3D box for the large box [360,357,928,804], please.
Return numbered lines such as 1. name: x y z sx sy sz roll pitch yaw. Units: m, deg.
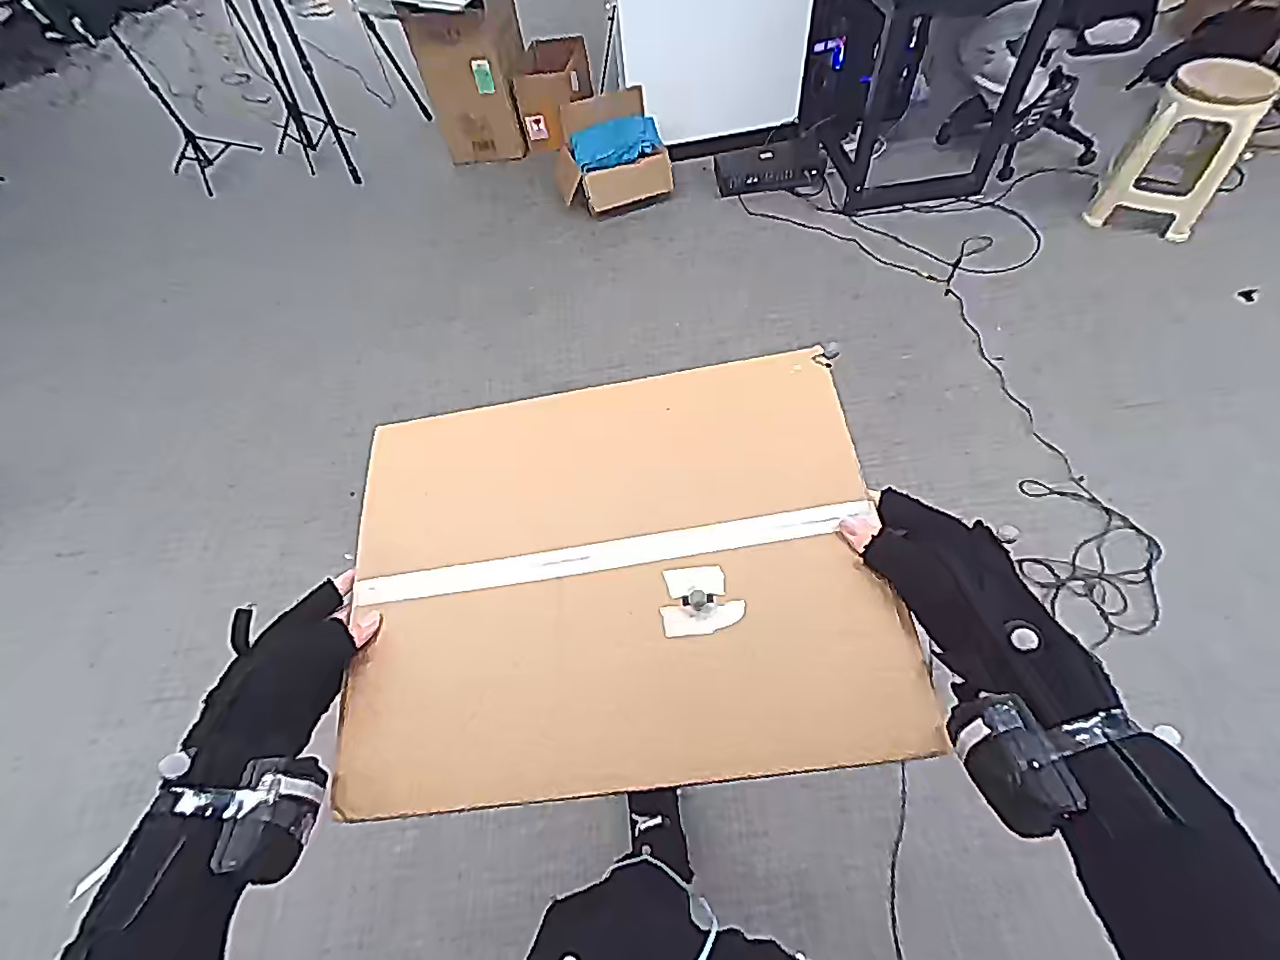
1. large box: -0.002 0.122 0.563 0.408 0.320 0.320 -9 64 5
